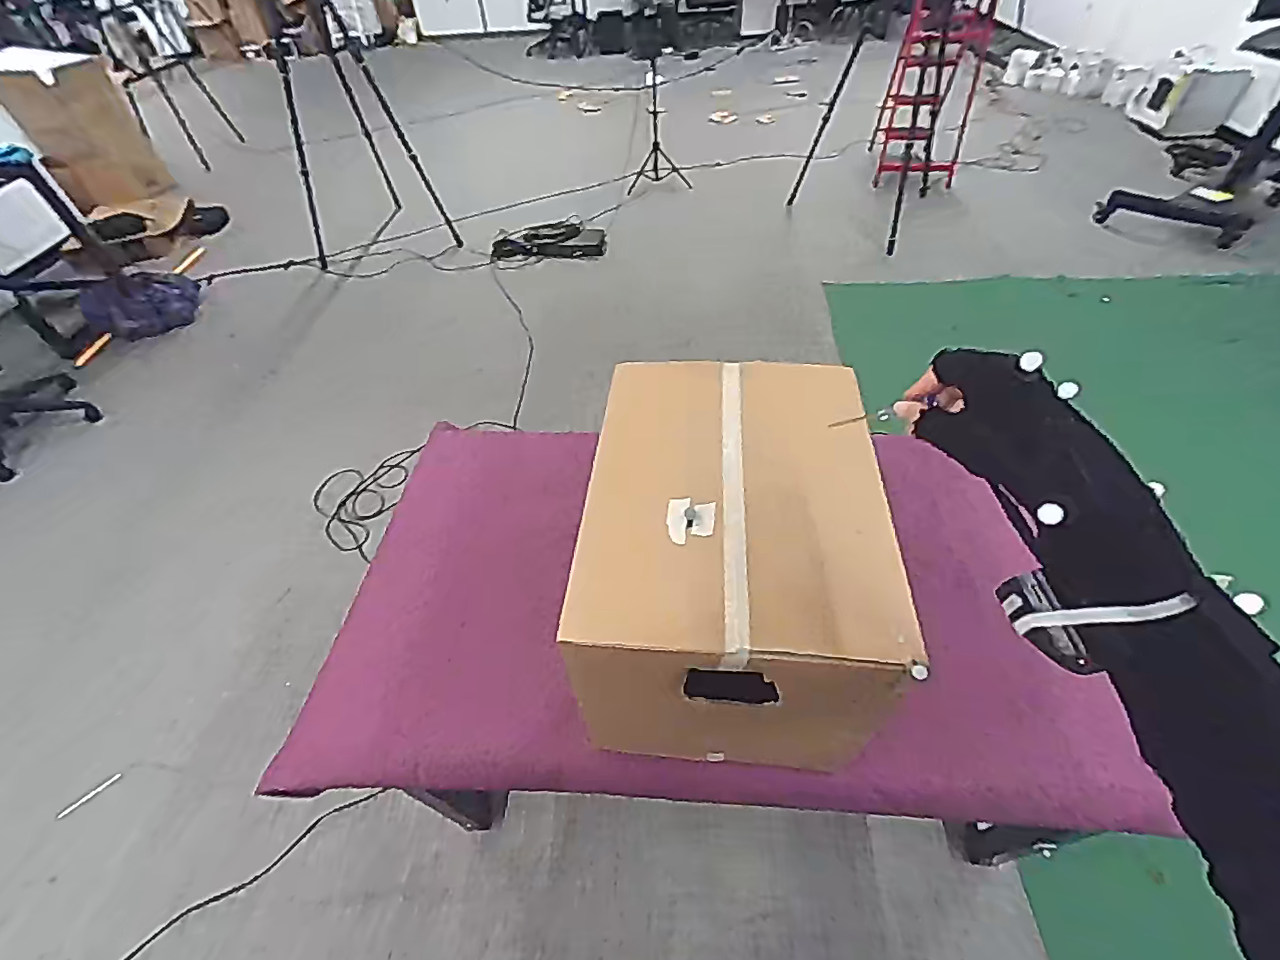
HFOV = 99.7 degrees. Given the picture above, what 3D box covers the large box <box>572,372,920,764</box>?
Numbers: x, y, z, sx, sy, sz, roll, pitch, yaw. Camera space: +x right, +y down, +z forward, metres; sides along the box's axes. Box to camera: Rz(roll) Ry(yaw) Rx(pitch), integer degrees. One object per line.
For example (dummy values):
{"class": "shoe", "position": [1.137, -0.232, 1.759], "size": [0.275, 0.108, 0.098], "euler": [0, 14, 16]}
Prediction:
{"class": "large box", "position": [0.111, 0.107, 0.714], "size": [0.320, 0.320, 0.408], "euler": [2, 49, 6]}
